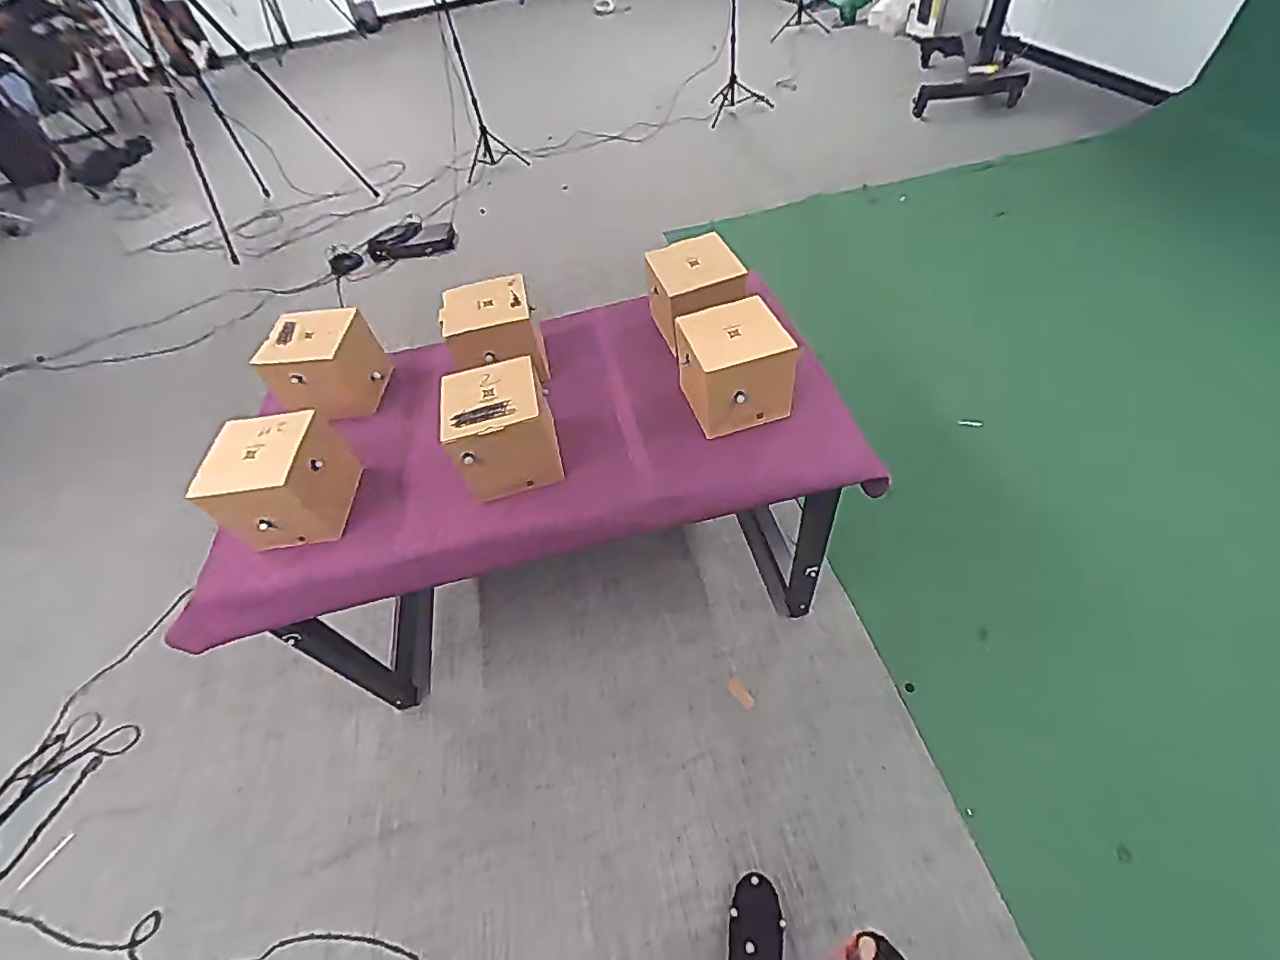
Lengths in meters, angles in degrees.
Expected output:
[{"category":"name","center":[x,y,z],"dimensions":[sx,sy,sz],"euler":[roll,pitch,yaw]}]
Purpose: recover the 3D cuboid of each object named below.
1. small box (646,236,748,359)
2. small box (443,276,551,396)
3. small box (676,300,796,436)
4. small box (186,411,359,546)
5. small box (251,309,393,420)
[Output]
[{"category":"small box","center":[0.121,-0.388,1.164],"dimensions":[0.168,0.176,0.179],"euler":[-18,53,-4]},{"category":"small box","center":[-0.304,-0.302,1.159],"dimensions":[0.179,0.176,0.168],"euler":[-14,53,-2]},{"category":"small box","center":[0.176,-0.201,1.008],"dimensions":[0.168,0.176,0.179],"euler":[-16,49,-4]},{"category":"small box","center":[-0.634,0.005,0.963],"dimensions":[0.168,0.176,0.179],"euler":[-7,51,2]},{"category":"small box","center":[-0.670,-0.243,1.163],"dimensions":[0.179,0.176,0.168],"euler":[-3,53,4]}]
